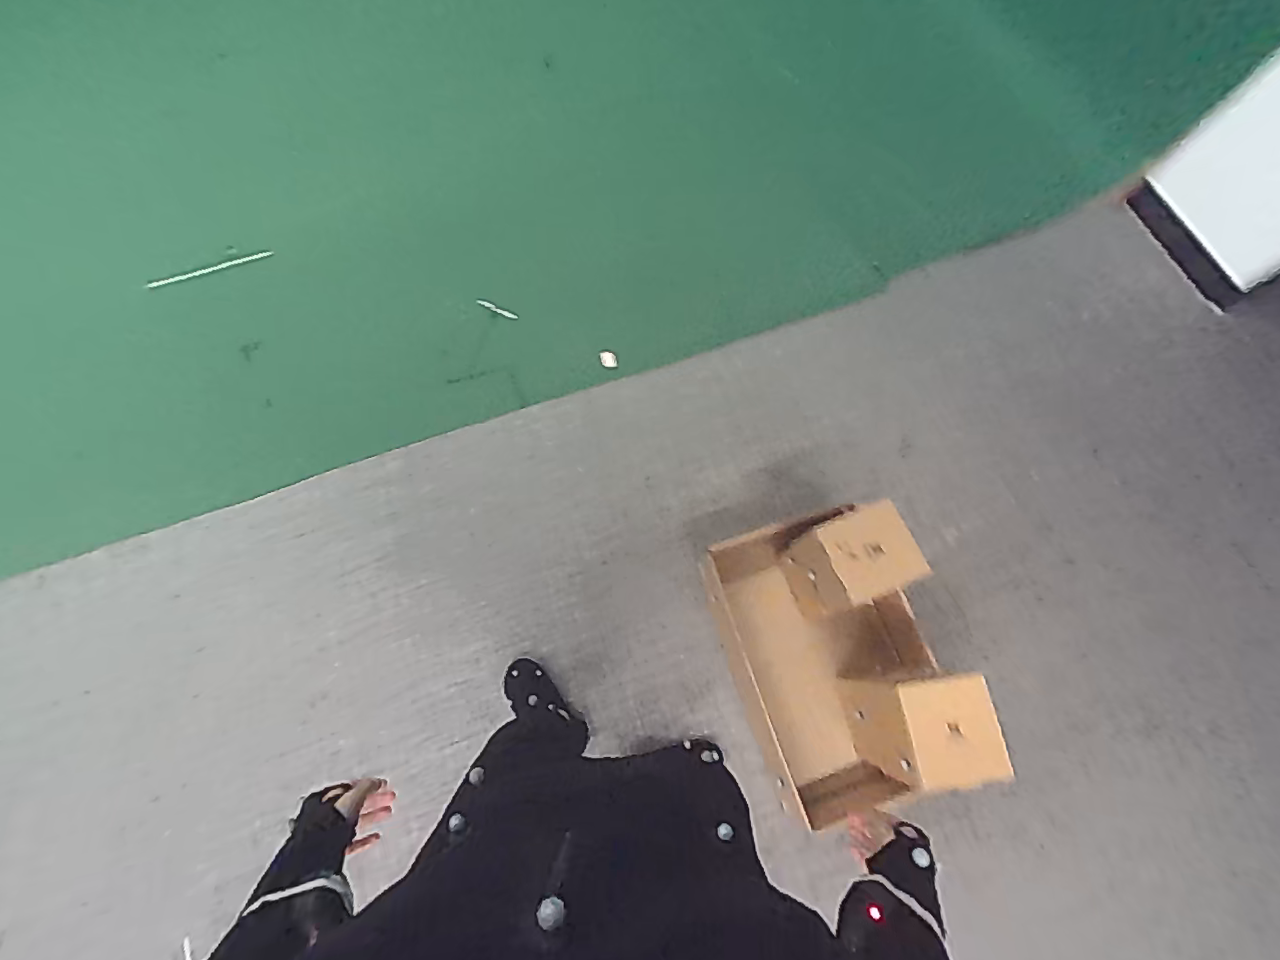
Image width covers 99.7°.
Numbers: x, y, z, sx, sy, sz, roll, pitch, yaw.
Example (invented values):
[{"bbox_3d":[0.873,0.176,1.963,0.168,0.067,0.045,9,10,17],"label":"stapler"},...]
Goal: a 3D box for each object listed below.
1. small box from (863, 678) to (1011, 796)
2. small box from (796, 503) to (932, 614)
[{"bbox_3d":[0.549,0.477,1.030,0.168,0.176,0.179,-7,73,-2],"label":"small box"},{"bbox_3d":[0.452,0.168,1.122,0.179,0.176,0.168,-20,72,-5],"label":"small box"}]
